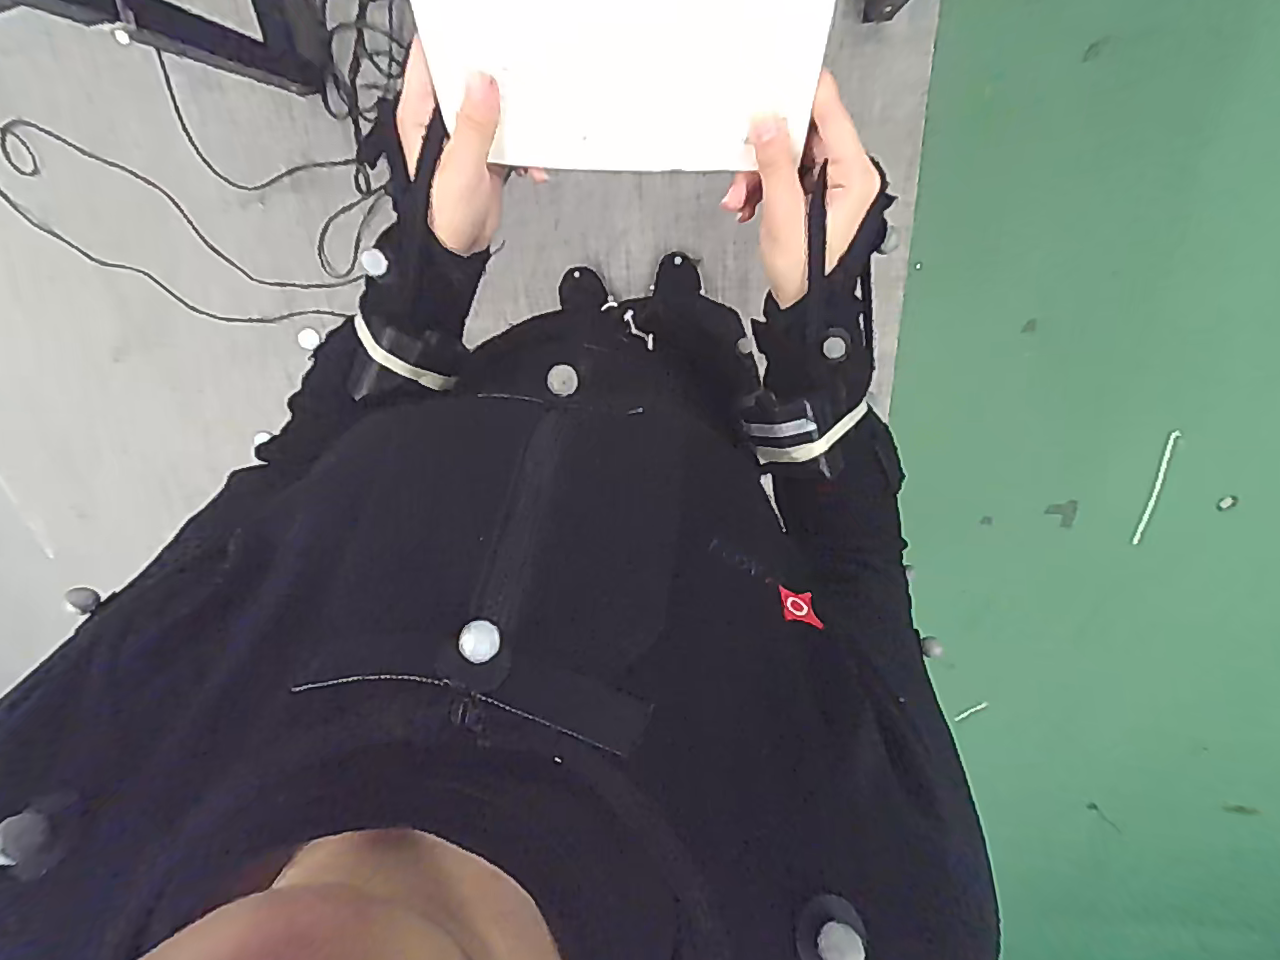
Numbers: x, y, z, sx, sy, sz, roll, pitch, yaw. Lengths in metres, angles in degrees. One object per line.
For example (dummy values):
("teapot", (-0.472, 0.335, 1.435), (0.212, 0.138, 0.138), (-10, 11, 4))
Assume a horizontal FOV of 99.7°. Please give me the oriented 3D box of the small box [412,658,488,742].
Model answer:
("small box", (-0.600, 0.691, 1.712), (0.179, 0.176, 0.168), (12, 116, -2))
